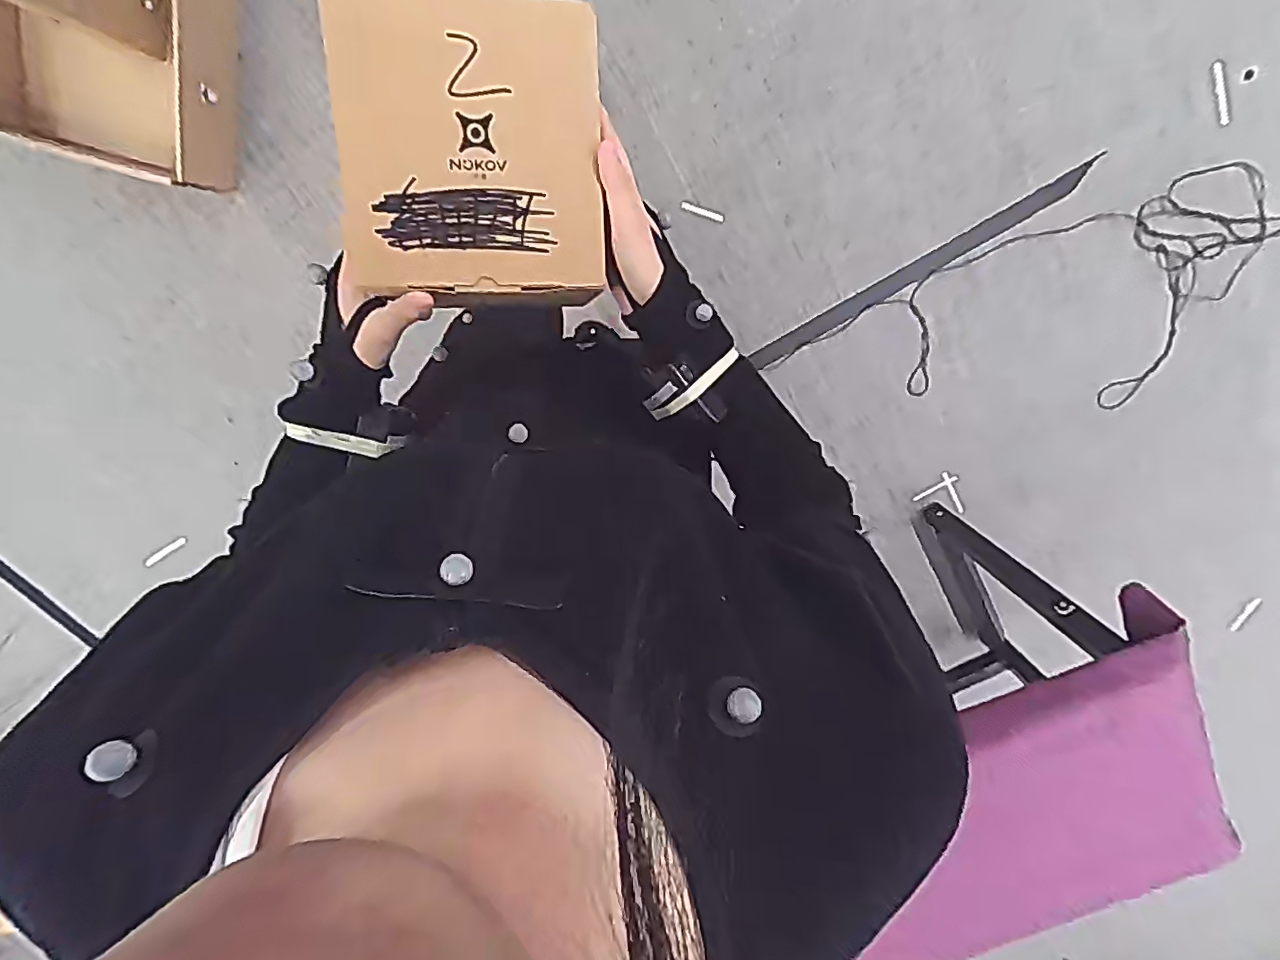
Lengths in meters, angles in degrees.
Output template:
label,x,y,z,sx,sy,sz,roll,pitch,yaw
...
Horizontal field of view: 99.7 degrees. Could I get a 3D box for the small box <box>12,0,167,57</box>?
label,x,y,z,sx,sy,sz,roll,pitch,yaw
small box,-1.021,-0.918,0.986,0.179,0.176,0.168,16,110,-9

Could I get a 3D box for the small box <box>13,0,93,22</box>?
label,x,y,z,sx,sy,sz,roll,pitch,yaw
small box,-1.016,-0.860,0.835,0.179,0.176,0.168,15,111,-9
